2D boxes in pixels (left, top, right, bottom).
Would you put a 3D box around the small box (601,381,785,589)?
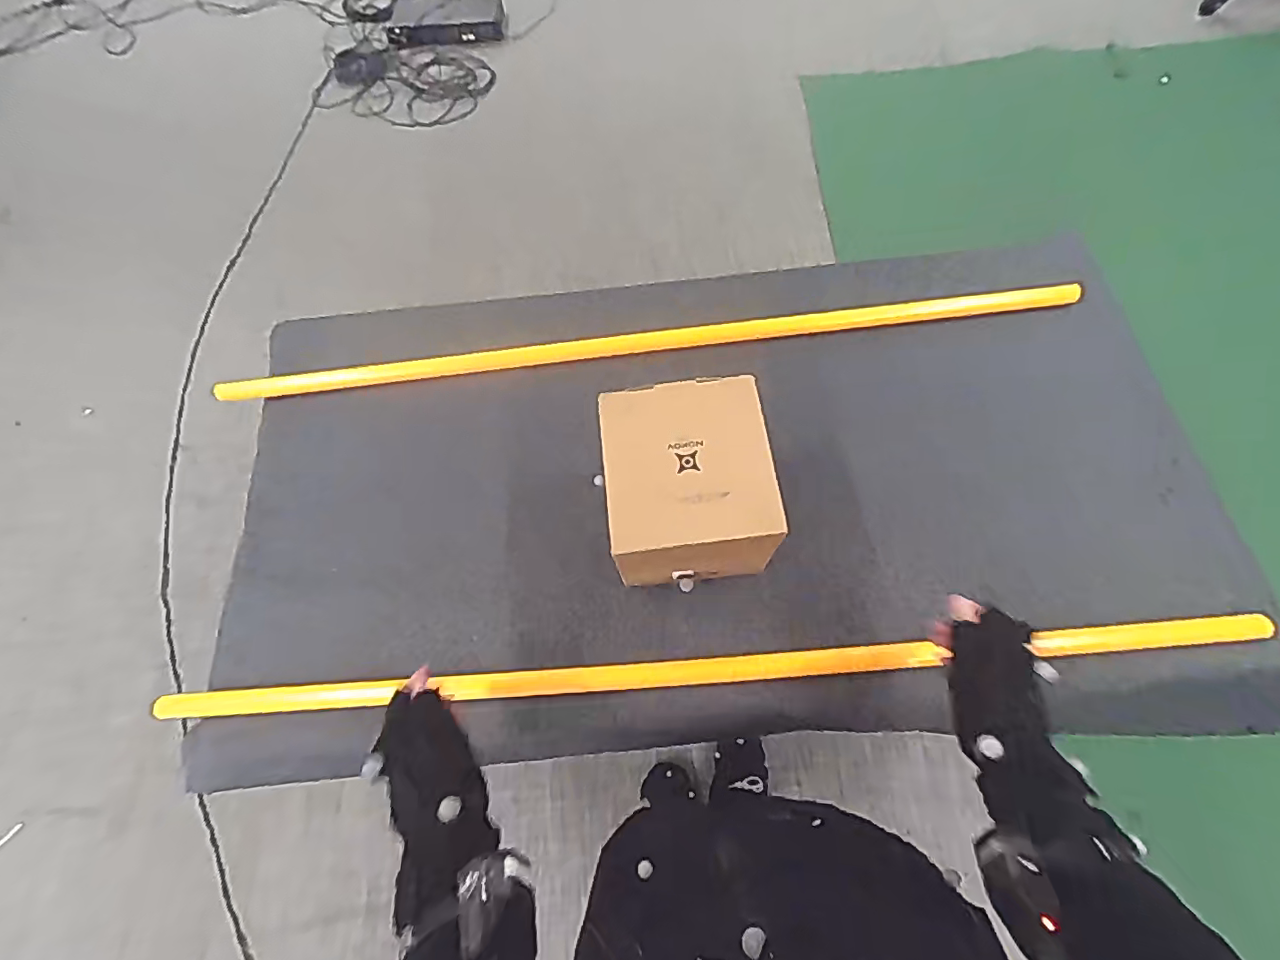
[{"bbox_3d":[0.052,0.014,0.613,0.168,0.176,0.179,-8,68,2],"label":"small box"}]
